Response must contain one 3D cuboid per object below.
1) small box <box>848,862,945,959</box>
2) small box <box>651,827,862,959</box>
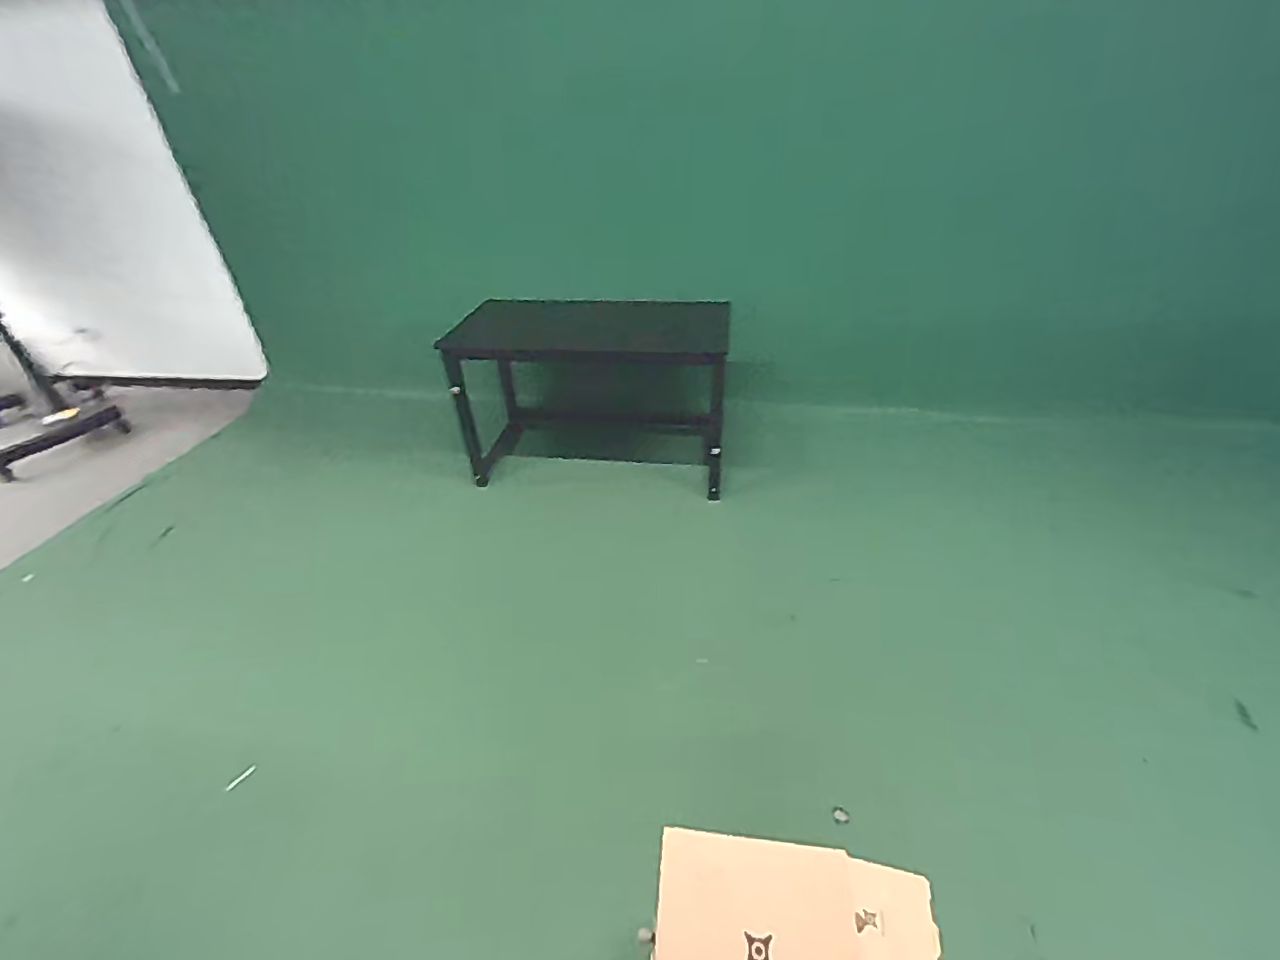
[{"bbox_3d":[0.373,0.755,0.870,0.179,0.176,0.168,7,35,15],"label":"small box"},{"bbox_3d":[0.092,0.436,0.475,0.168,0.176,0.179,4,45,6],"label":"small box"}]
